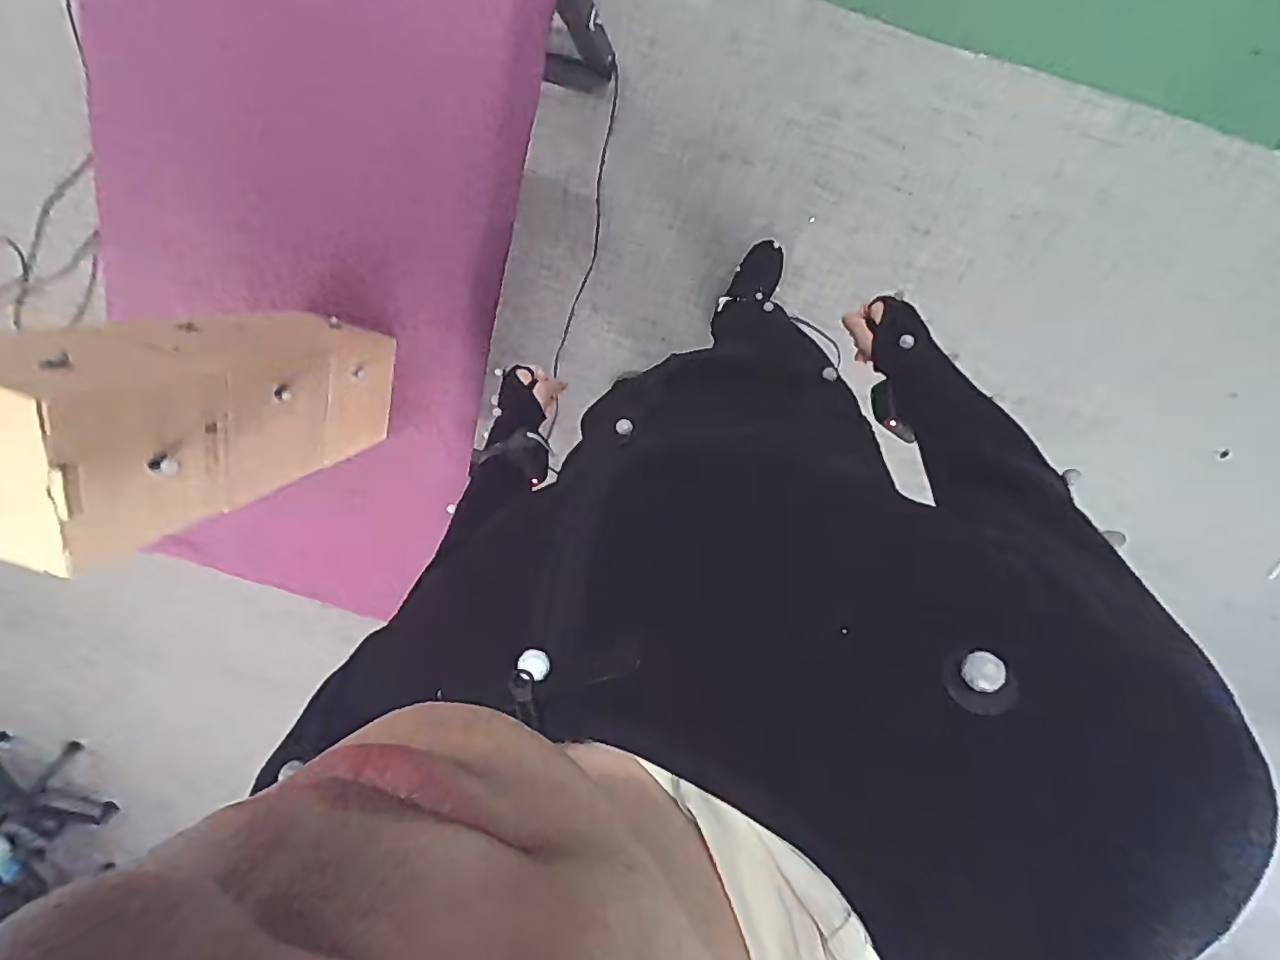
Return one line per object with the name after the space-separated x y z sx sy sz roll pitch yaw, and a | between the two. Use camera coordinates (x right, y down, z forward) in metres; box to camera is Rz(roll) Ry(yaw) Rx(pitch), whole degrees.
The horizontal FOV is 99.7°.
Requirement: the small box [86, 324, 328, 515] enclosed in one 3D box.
-0.518 -0.086 0.671 0.168 0.176 0.179 17 111 1 | small box

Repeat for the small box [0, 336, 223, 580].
-0.543 -0.034 0.518 0.179 0.176 0.168 16 110 1 | small box
